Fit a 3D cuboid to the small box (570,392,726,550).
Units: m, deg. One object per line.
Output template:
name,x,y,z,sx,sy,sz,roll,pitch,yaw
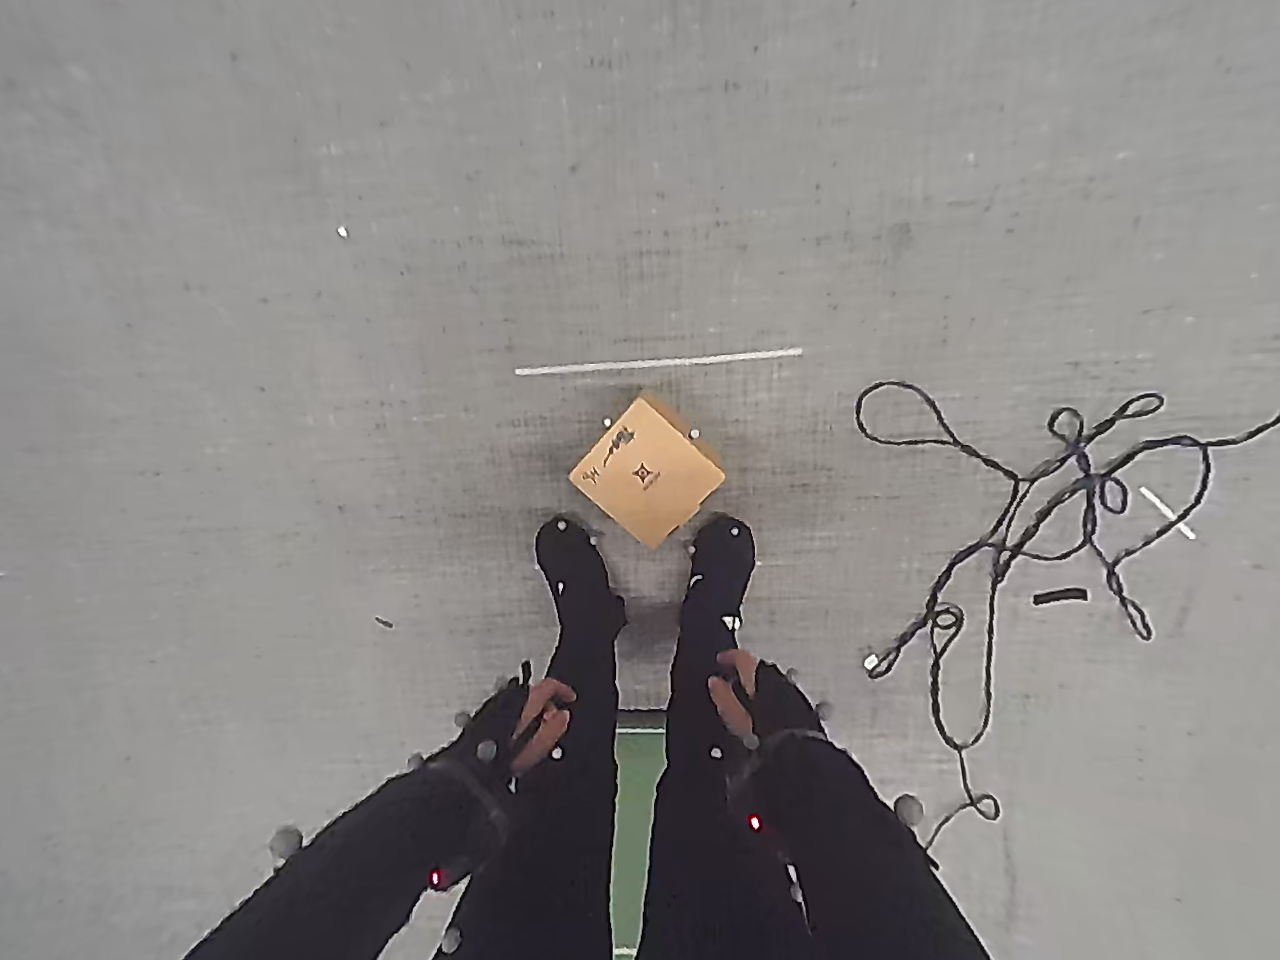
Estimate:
small box,0.016,-0.025,0.876,0.179,0.176,0.168,42,104,-8
